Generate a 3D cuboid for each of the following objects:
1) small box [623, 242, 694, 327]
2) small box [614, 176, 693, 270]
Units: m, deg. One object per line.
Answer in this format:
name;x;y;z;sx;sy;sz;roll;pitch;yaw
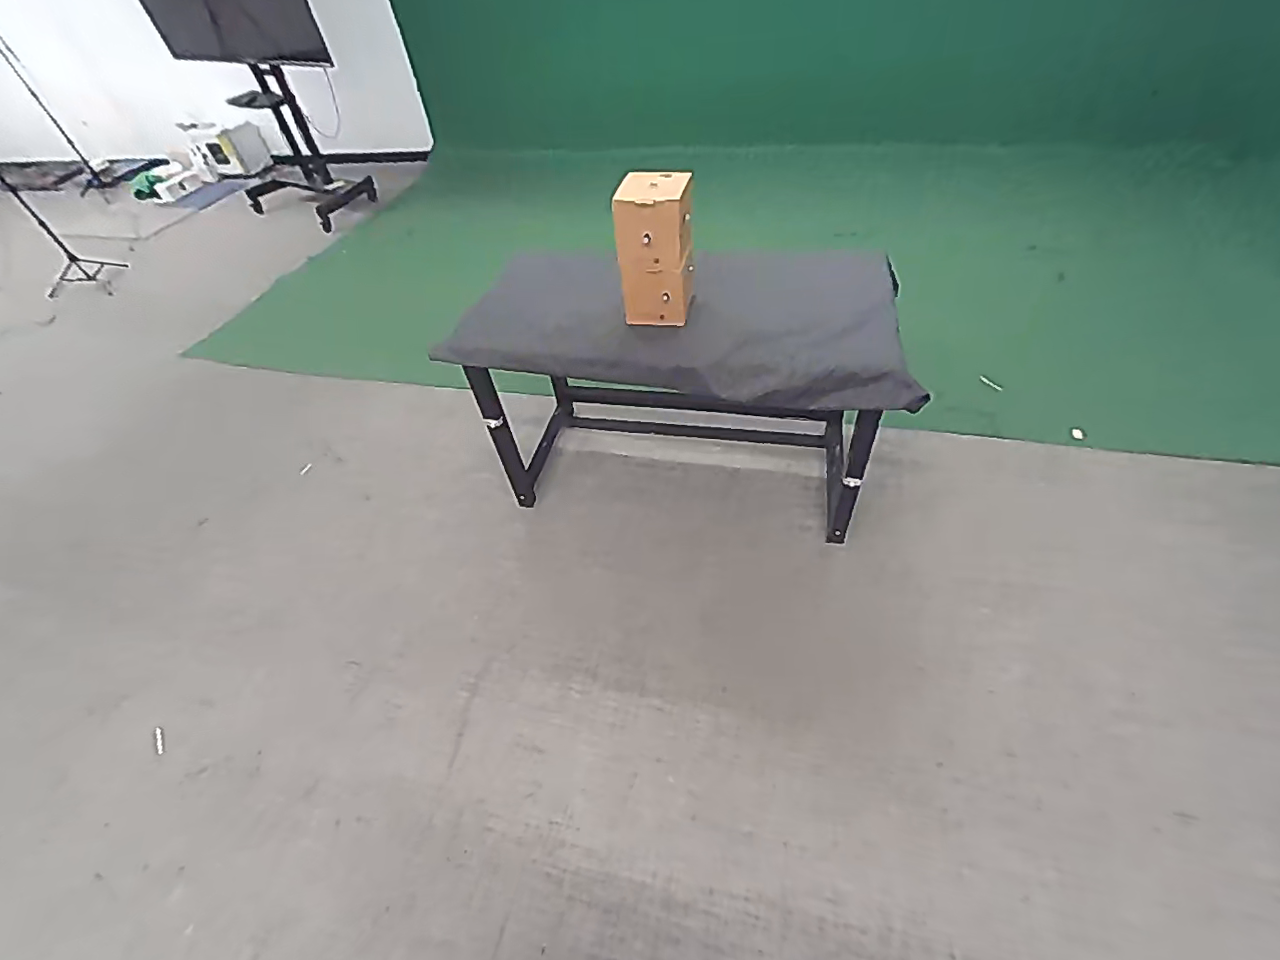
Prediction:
small box;0.058;-0.541;1.499;0.168;0.176;0.179;6;48;11
small box;0.043;-0.654;1.381;0.168;0.176;0.179;8;51;12
